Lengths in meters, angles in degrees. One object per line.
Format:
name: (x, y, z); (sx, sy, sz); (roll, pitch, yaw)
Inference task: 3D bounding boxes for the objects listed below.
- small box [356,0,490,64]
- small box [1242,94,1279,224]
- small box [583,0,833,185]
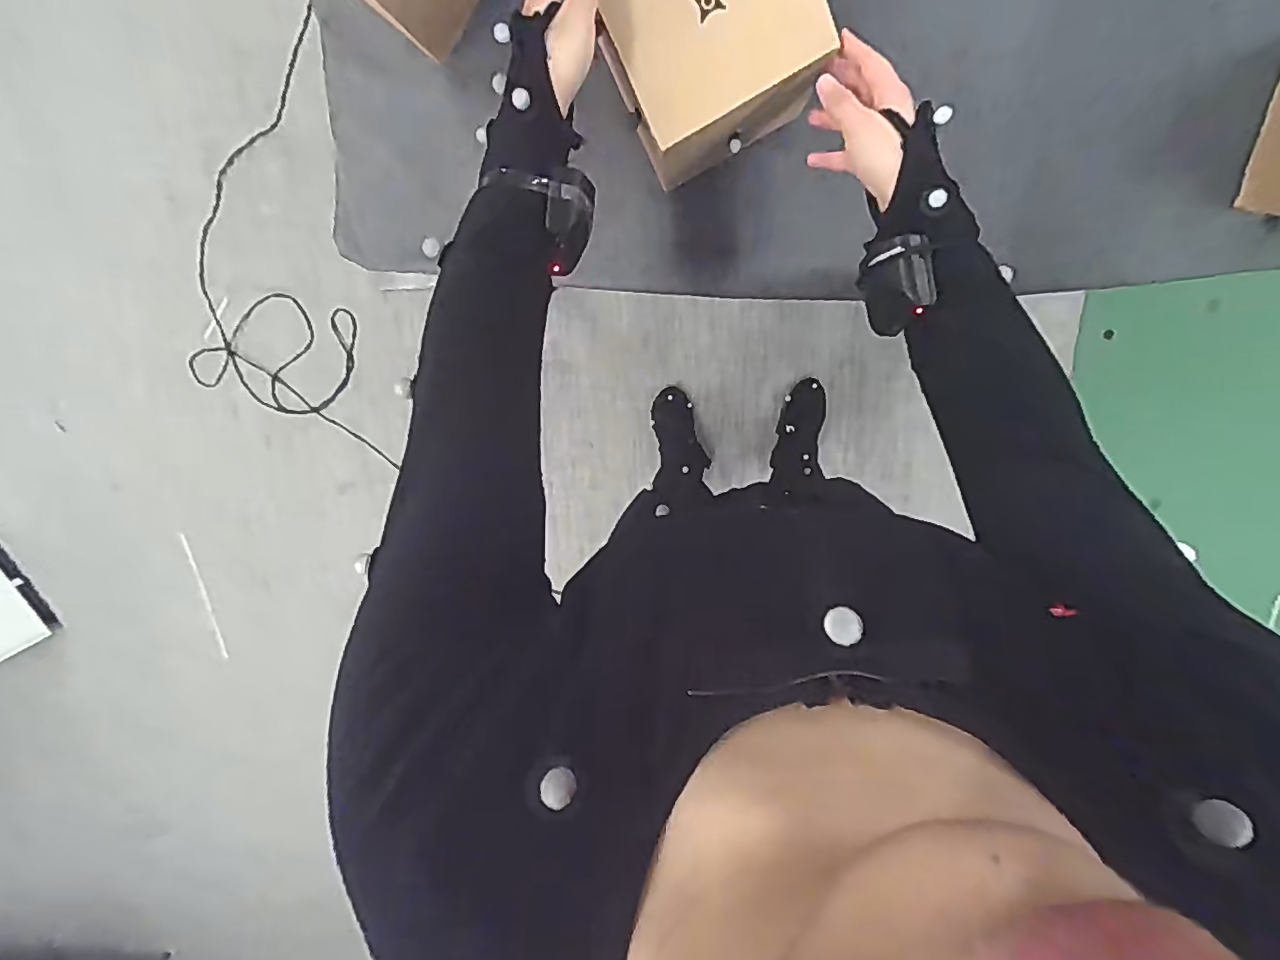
small box: (-0.242, -0.545, 0.502); (0.179, 0.176, 0.168); (38, 107, -7)
small box: (0.715, -0.333, 0.476); (0.168, 0.176, 0.179); (9, 105, 4)
small box: (0.058, -0.410, 0.517); (0.168, 0.176, 0.179); (-25, 104, 11)
